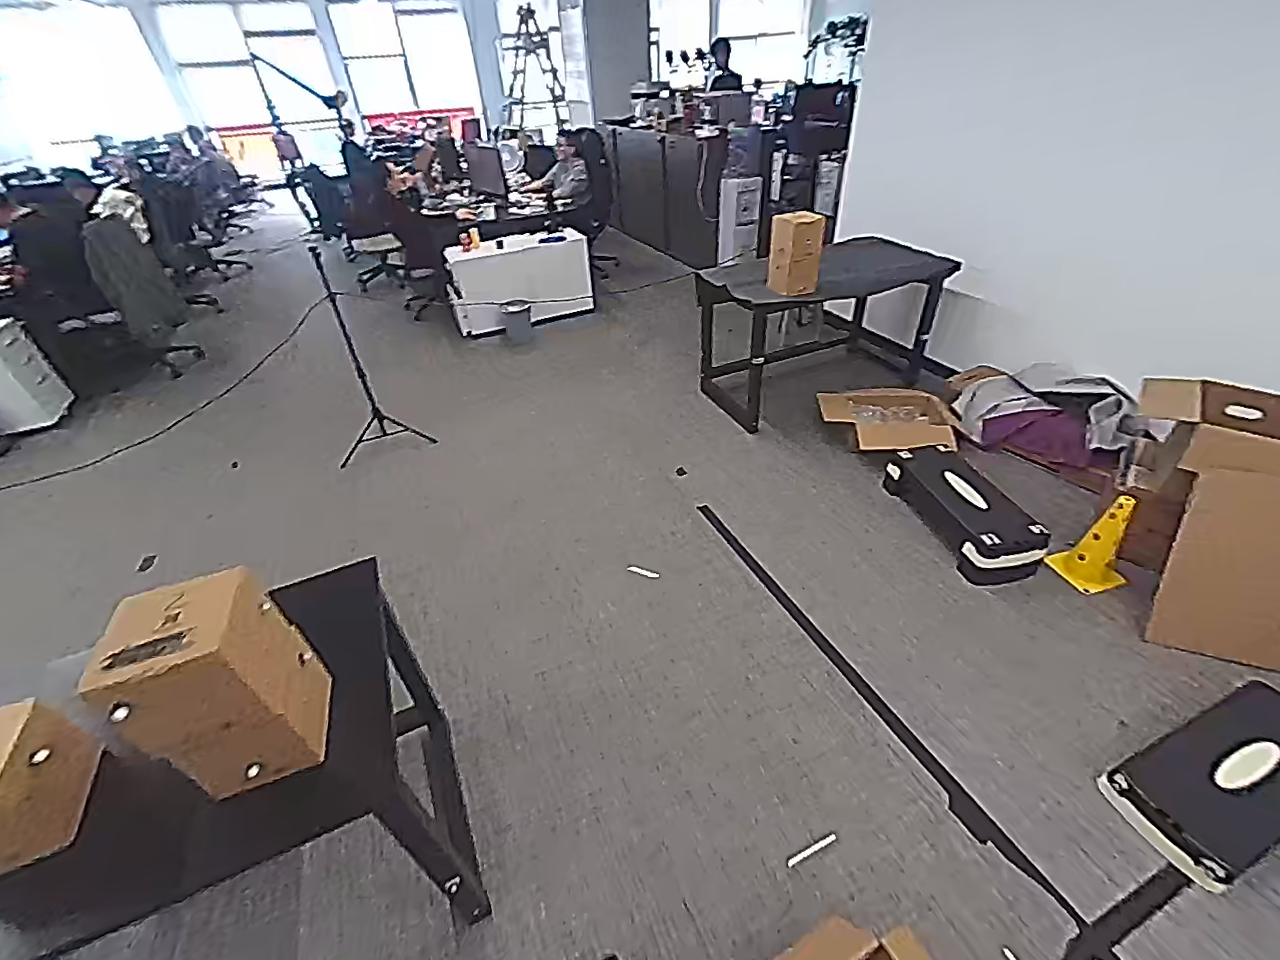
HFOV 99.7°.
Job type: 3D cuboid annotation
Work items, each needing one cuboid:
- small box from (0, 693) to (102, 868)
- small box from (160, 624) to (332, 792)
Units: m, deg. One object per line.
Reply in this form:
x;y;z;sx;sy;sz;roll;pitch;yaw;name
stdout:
-0.998;0.475;0.835;0.168;0.176;0.179;-18;40;-18;small box
-0.647;0.384;0.917;0.168;0.176;0.179;-16;39;-13;small box
